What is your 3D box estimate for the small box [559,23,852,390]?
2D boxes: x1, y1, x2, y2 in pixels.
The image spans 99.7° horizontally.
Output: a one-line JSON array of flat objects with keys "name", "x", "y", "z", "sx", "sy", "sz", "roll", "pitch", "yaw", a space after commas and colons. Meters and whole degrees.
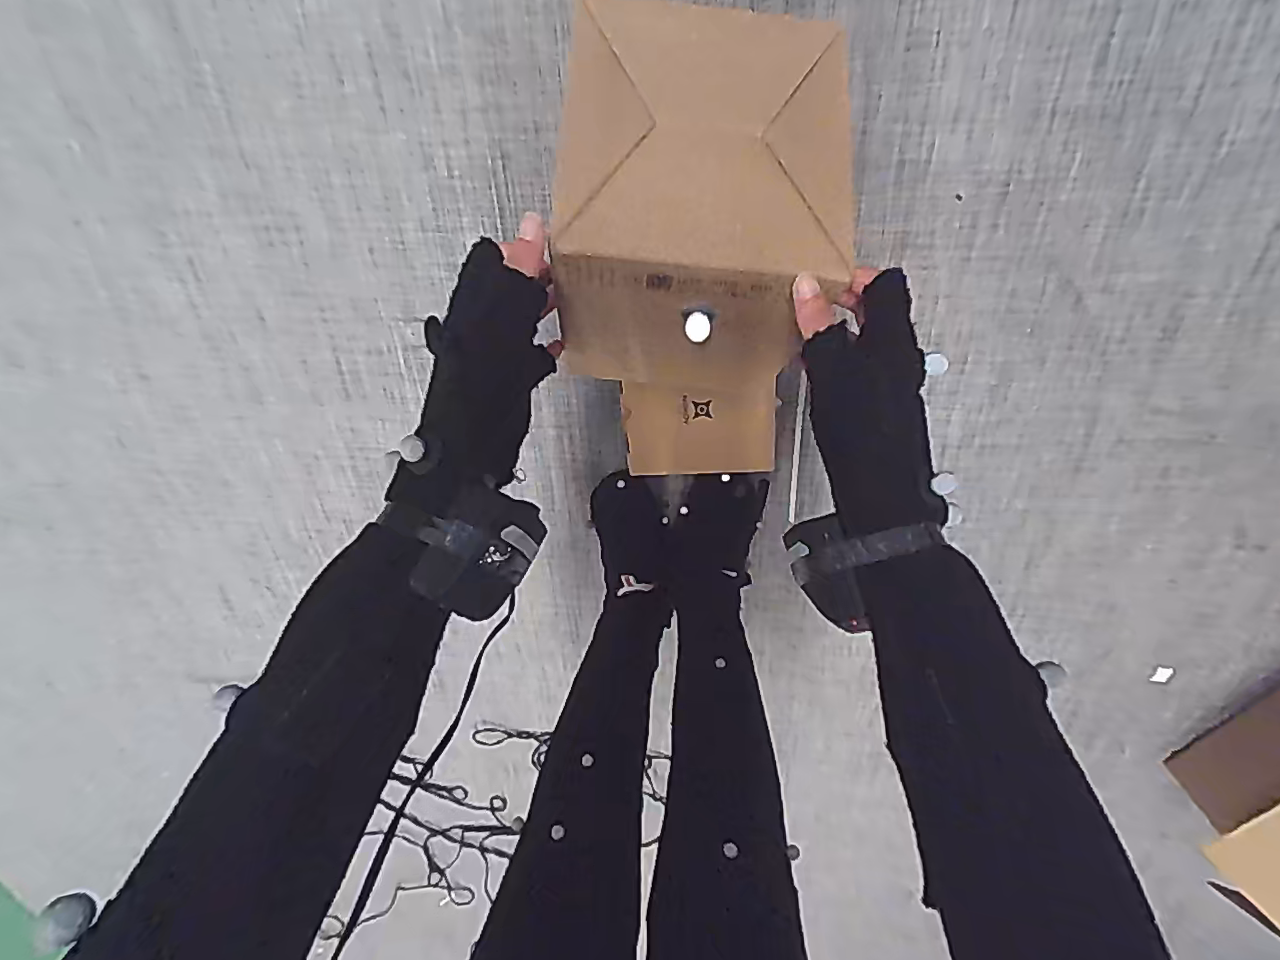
[{"name": "small box", "x": 0.035, "y": -0.179, "z": 0.383, "sx": 0.168, "sy": 0.176, "sz": 0.179, "roll": 4, "pitch": 78, "yaw": -3}]
